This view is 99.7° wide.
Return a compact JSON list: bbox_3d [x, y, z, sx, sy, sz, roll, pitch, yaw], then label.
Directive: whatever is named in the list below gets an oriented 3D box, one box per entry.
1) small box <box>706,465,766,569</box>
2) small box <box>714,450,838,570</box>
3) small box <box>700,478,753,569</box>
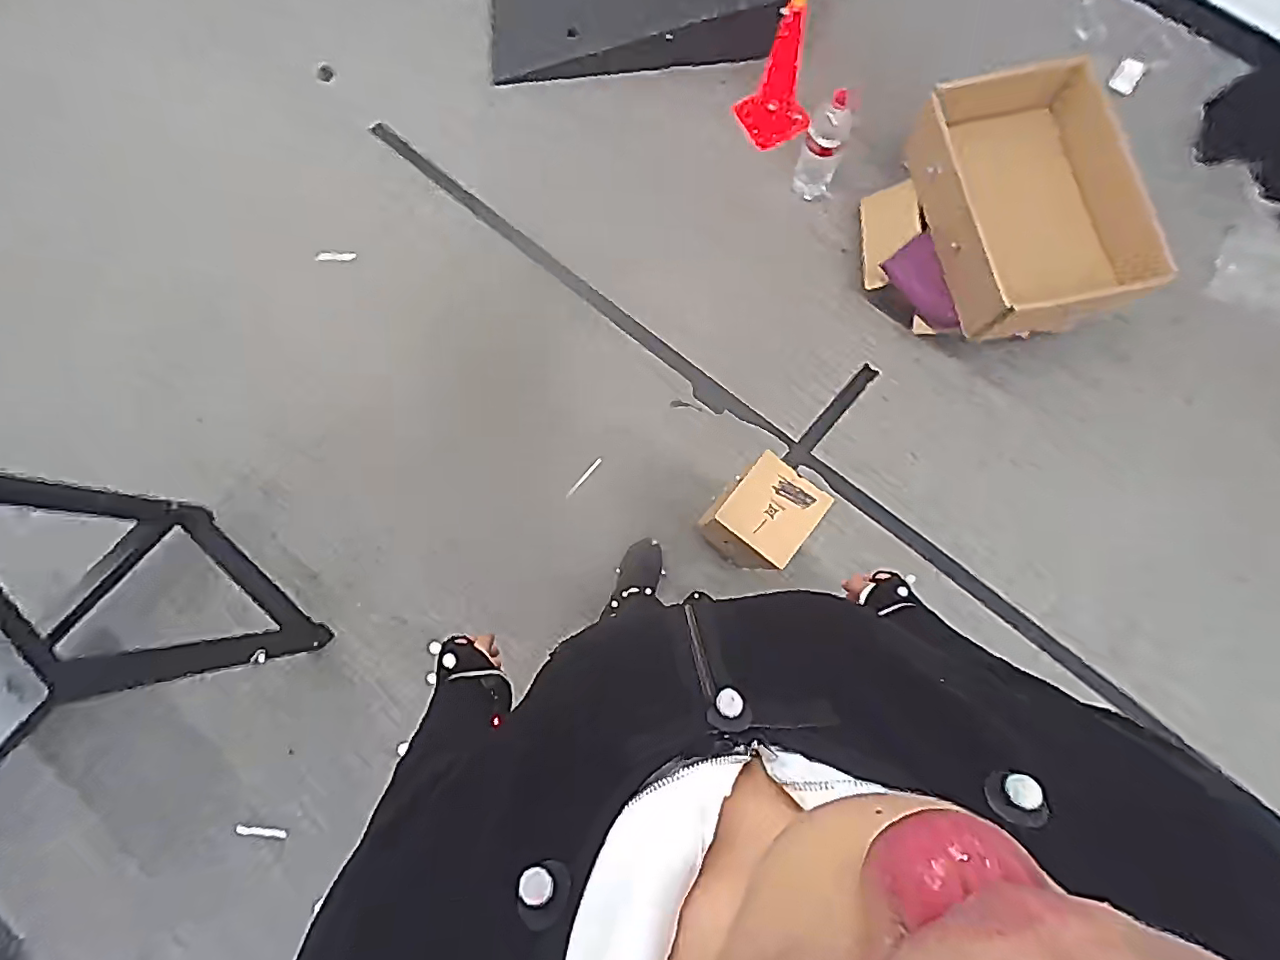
[{"bbox_3d":[0.271,0.093,1.278,0.168,0.176,0.179,38,83,8],"label":"small box"},{"bbox_3d":[0.268,0.067,1.115,0.168,0.176,0.179,38,84,8],"label":"small box"},{"bbox_3d":[0.277,0.119,1.439,0.179,0.176,0.168,40,83,10],"label":"small box"}]
